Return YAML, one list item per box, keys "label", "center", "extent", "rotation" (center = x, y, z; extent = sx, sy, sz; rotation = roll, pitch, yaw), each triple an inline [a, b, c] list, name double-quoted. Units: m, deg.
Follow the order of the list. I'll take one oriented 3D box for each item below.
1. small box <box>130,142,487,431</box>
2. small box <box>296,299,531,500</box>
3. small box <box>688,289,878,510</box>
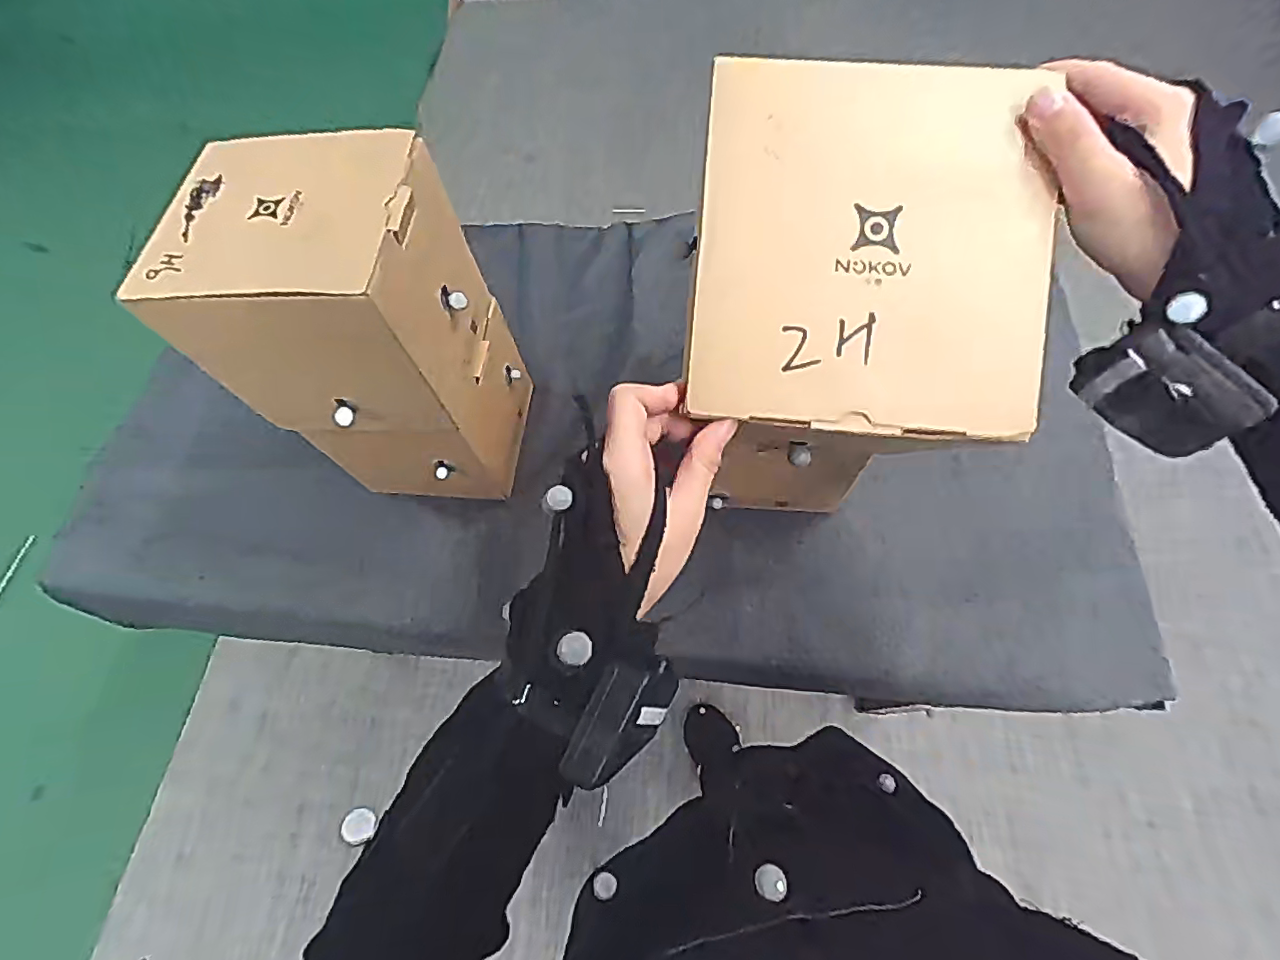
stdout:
- label: "small box"
  center: [-0.246, -0.153, 0.460]
  extent: [0.179, 0.176, 0.168]
  rotation: [1, 63, 4]
- label: "small box"
  center: [-0.234, -0.085, 0.609]
  extent: [0.179, 0.176, 0.168]
  rotation: [3, 63, 6]
- label: "small box"
  center: [0.138, -0.078, 0.578]
  extent: [0.168, 0.176, 0.179]
  rotation: [3, 64, 5]
